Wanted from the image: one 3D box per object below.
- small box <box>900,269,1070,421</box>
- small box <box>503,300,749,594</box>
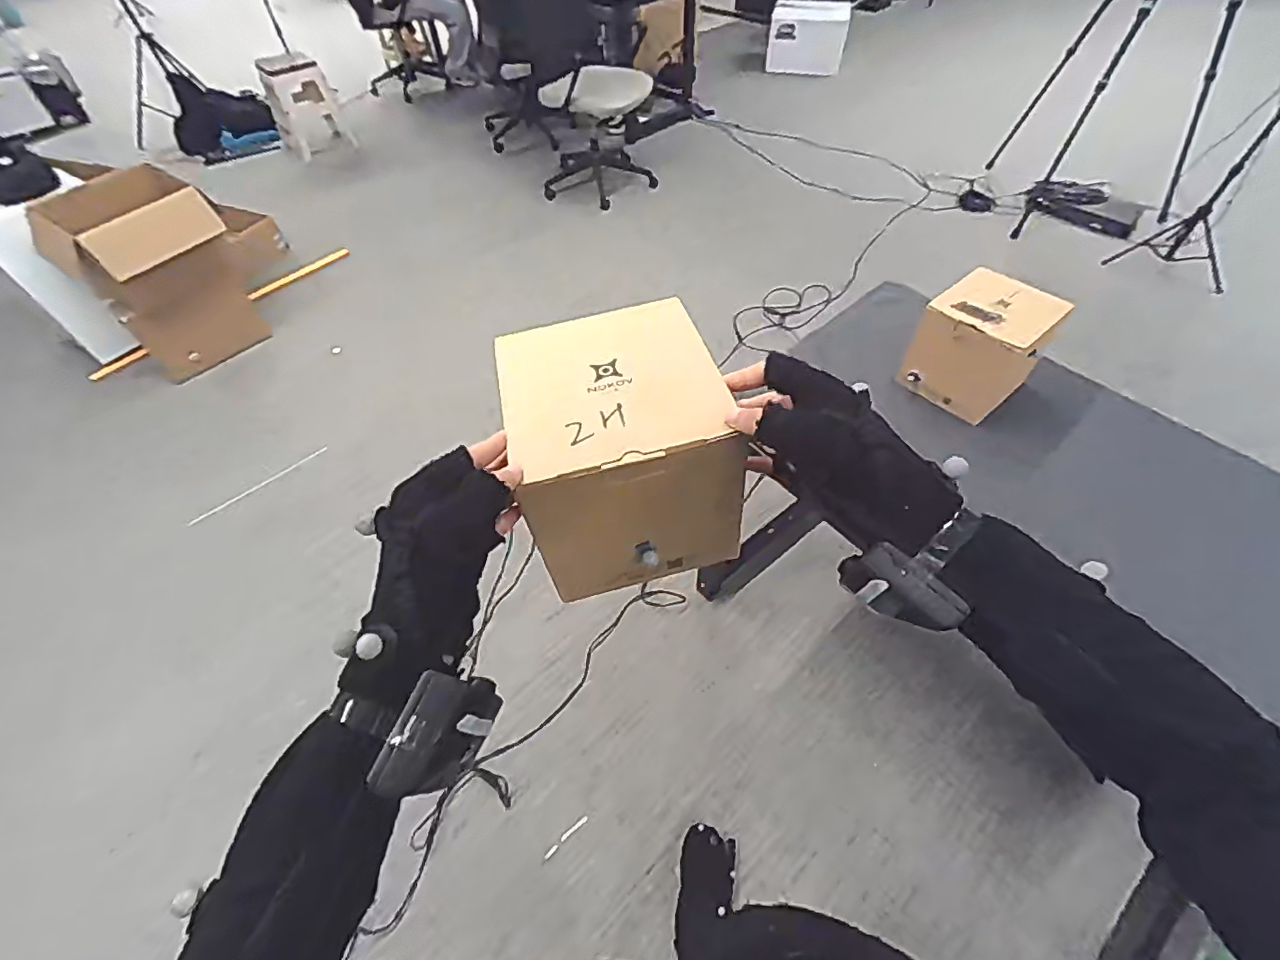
[{"bbox_3d":[0.591,-0.234,0.955,0.179,0.176,0.168,-34,59,-22],"label":"small box"},{"bbox_3d":[-0.015,-0.027,0.479,0.168,0.176,0.179,-14,51,-4],"label":"small box"}]
